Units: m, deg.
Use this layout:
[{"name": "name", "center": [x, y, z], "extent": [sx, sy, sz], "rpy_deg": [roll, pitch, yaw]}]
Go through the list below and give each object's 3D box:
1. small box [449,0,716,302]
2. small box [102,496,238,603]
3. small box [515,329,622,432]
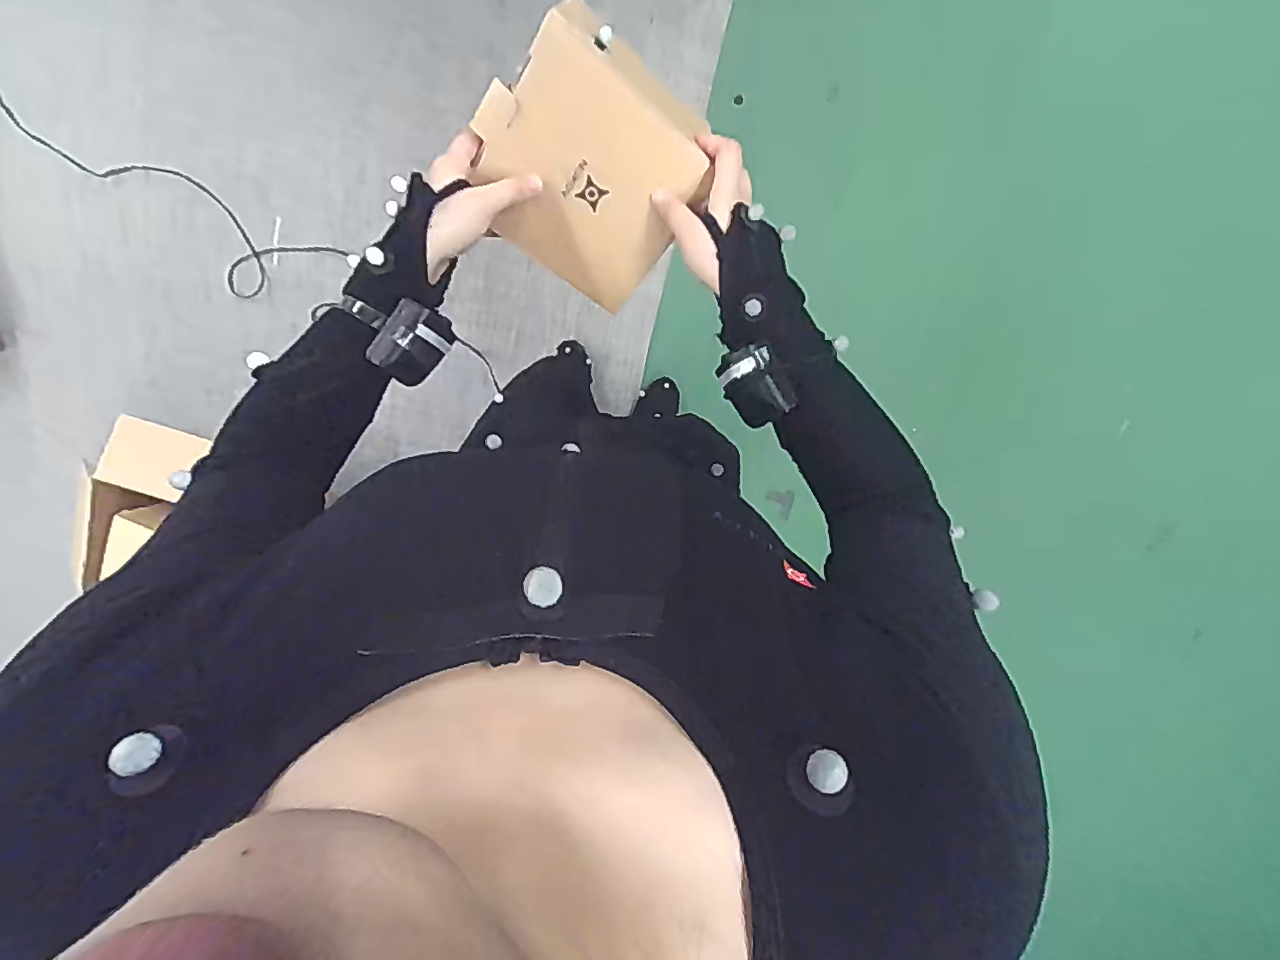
[{"name": "small box", "center": [-0.048, -0.316, 0.517], "extent": [0.179, 0.176, 0.168], "rpy_deg": [29, 130, -24]}, {"name": "small box", "center": [-1.113, 0.156, 1.294], "extent": [0.168, 0.176, 0.179], "rpy_deg": [24, 103, 0]}, {"name": "small box", "center": [-0.166, -0.245, 1.318], "extent": [0.179, 0.168, 0.176], "rpy_deg": [-48, 122, -12]}]
